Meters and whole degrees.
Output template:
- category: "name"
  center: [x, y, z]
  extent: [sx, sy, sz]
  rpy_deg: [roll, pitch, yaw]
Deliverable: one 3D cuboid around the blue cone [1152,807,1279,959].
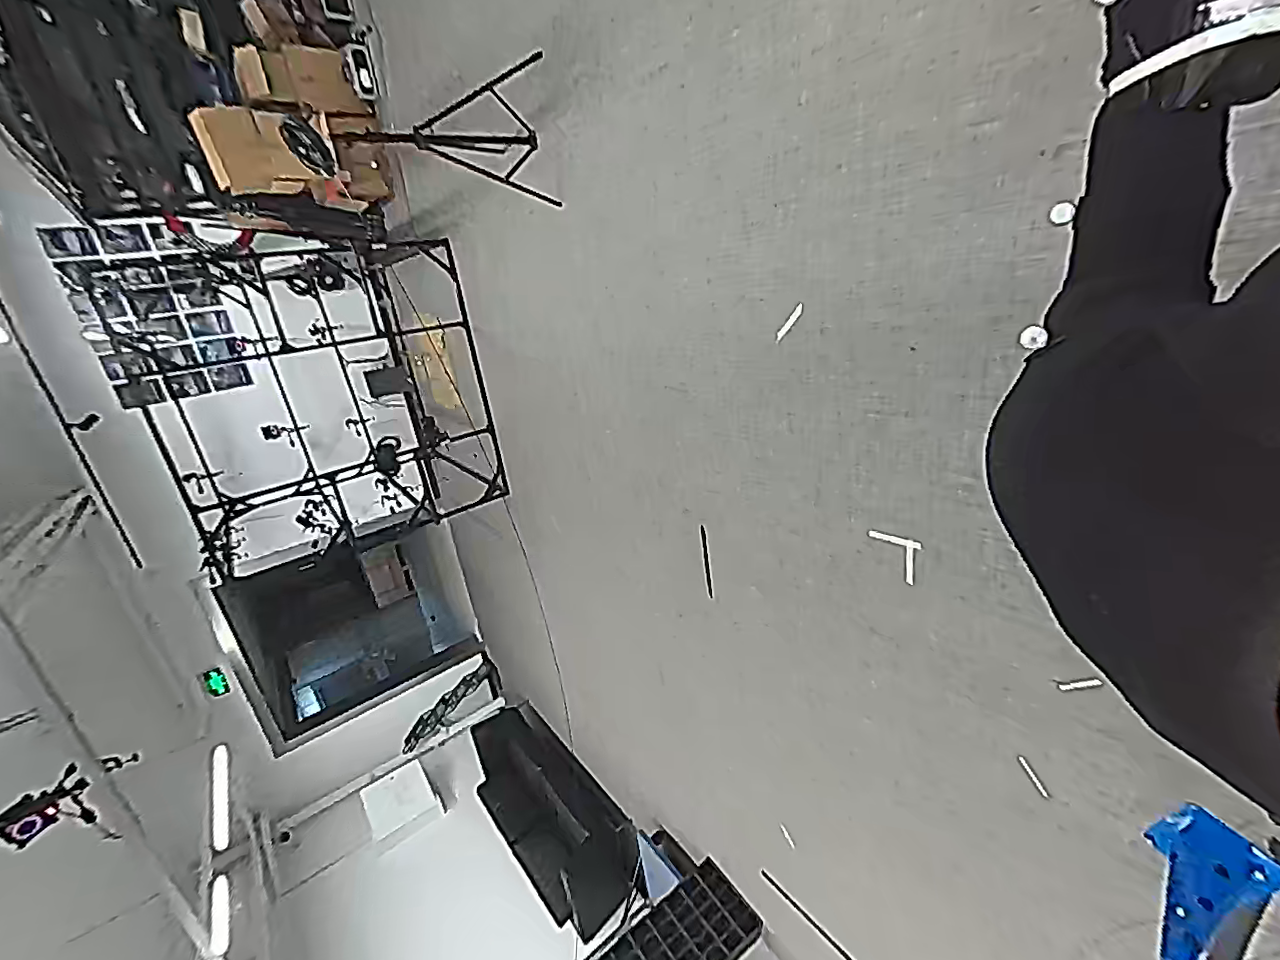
- category: "blue cone"
  center: [1.273, 0.956, 1.233]
  extent: [0.193, 0.380, 0.192]
  rpy_deg: [42, 141, 37]
